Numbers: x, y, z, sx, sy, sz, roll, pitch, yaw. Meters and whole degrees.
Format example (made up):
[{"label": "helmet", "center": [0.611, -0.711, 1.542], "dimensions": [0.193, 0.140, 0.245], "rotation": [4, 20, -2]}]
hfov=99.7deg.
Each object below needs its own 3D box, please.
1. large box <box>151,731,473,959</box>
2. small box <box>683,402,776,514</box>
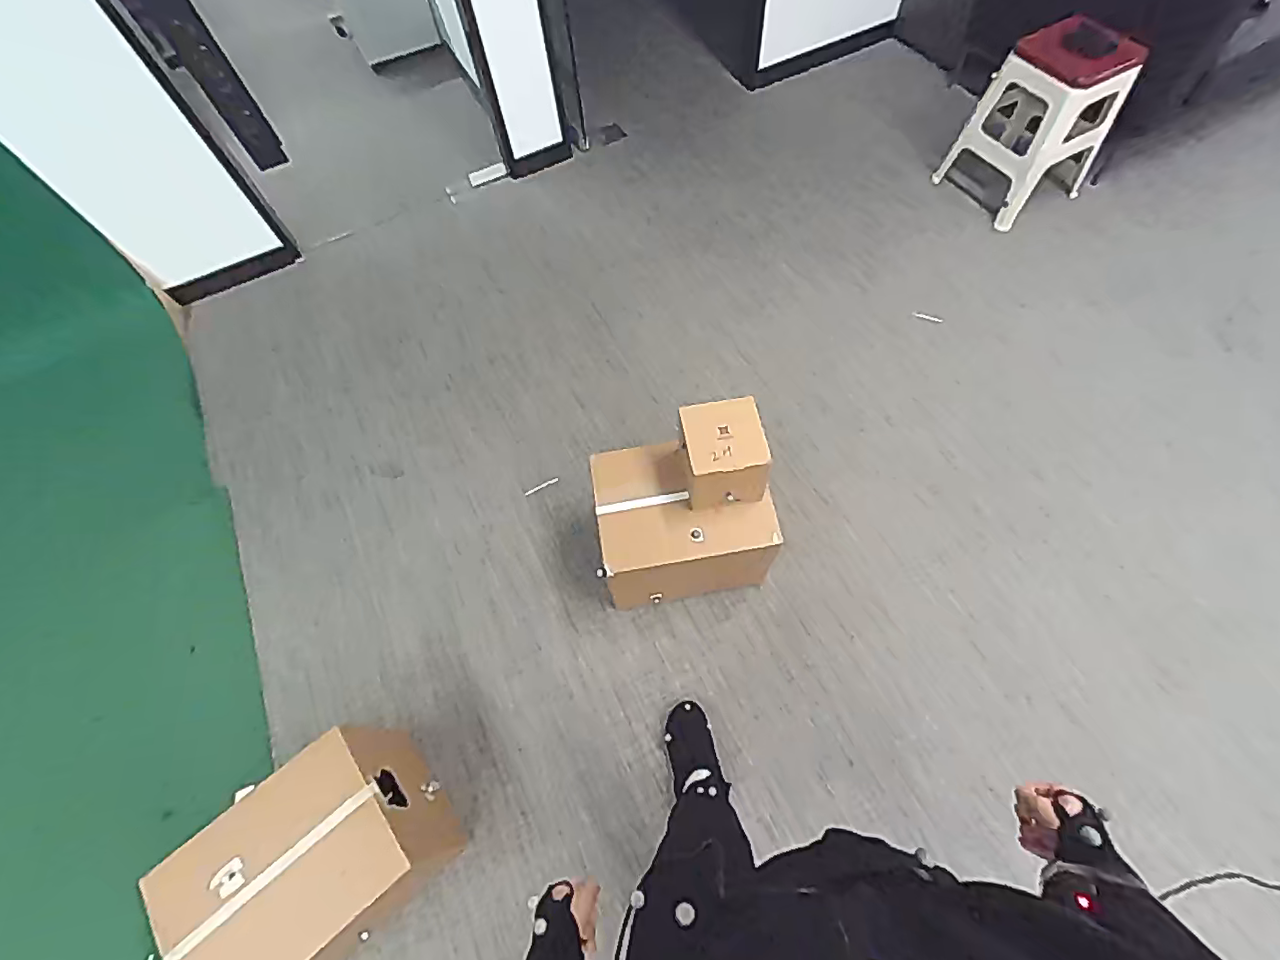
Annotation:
[{"label": "large box", "center": [-0.630, 0.781, 1.101], "dimensions": [0.408, 0.320, 0.320], "rotation": [-39, 65, -14]}, {"label": "small box", "center": [0.189, -0.045, 1.199], "dimensions": [0.168, 0.176, 0.179], "rotation": [-9, 60, 0]}]
